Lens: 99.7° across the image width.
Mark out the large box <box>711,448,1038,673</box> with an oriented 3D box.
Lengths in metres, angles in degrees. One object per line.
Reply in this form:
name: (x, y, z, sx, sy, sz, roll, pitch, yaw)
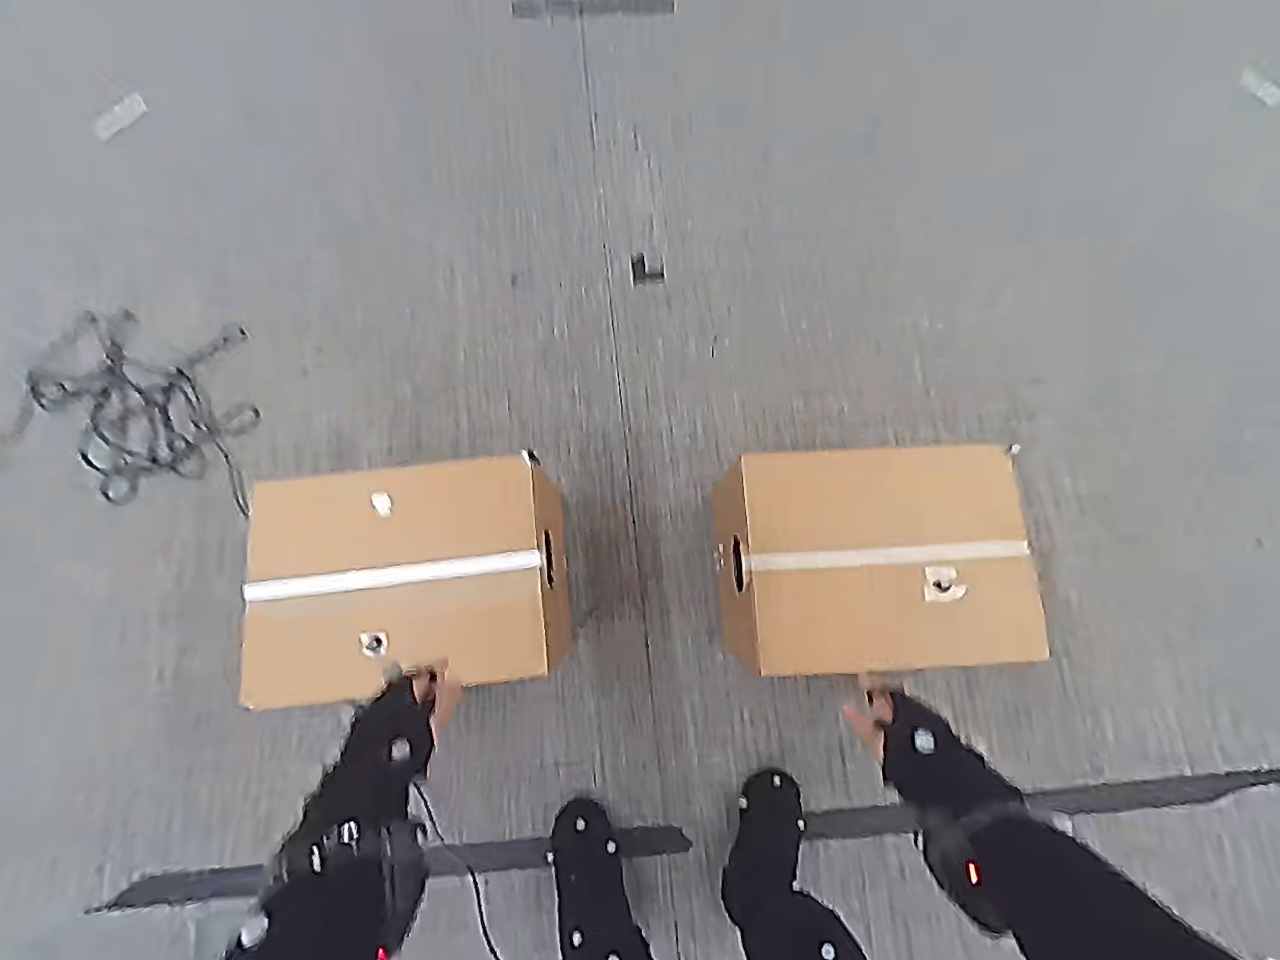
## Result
large box: (0.355, 0.142, 0.934, 0.408, 0.320, 0.320, -2, 78, -2)
